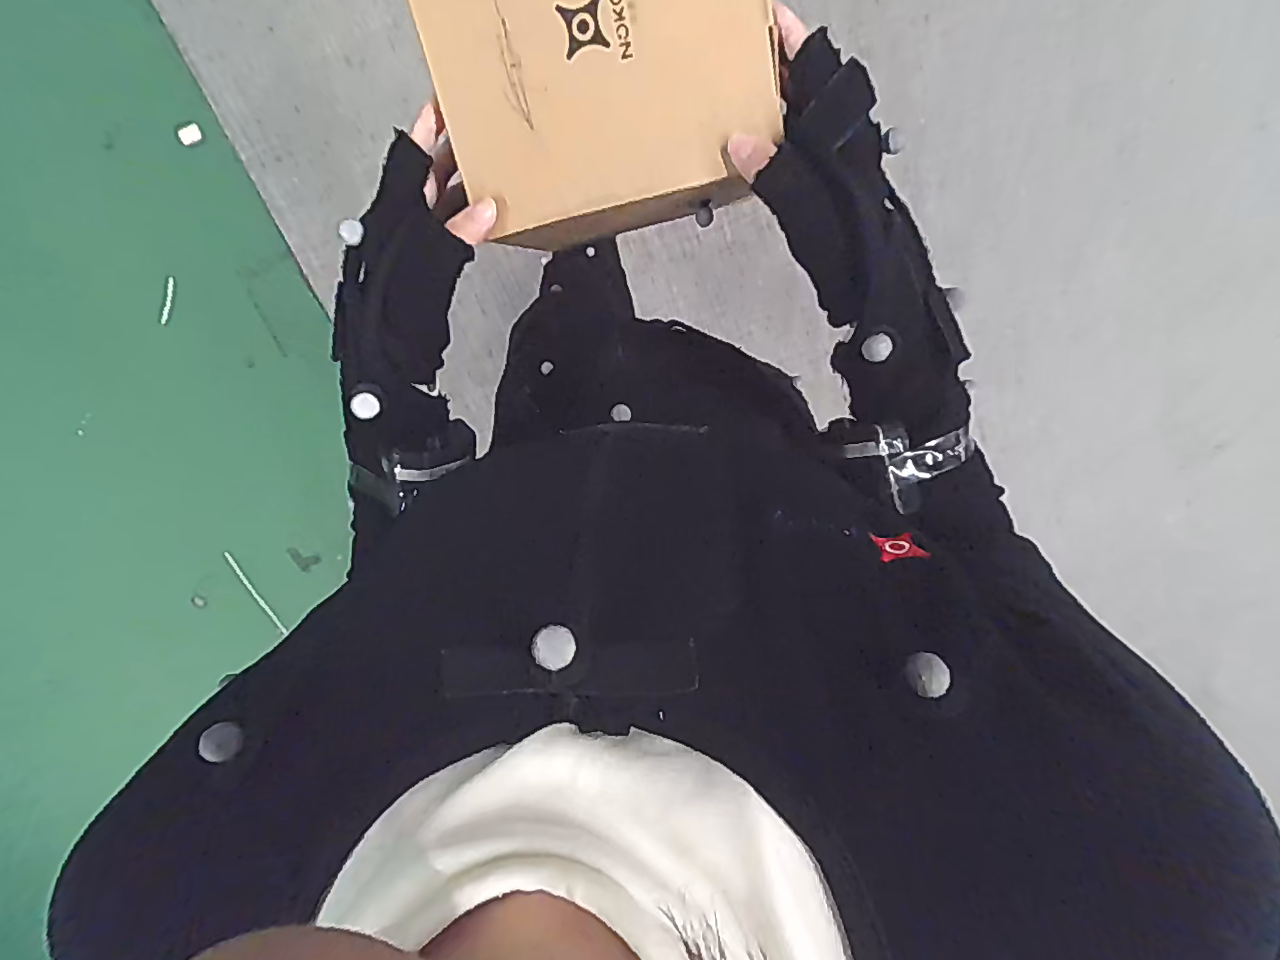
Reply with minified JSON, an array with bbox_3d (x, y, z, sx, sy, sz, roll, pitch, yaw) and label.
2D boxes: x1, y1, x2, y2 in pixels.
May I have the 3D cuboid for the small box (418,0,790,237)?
[{"bbox_3d":[-0.017,-0.264,0.342,0.179,0.176,0.168,-11,109,10],"label":"small box"}]
